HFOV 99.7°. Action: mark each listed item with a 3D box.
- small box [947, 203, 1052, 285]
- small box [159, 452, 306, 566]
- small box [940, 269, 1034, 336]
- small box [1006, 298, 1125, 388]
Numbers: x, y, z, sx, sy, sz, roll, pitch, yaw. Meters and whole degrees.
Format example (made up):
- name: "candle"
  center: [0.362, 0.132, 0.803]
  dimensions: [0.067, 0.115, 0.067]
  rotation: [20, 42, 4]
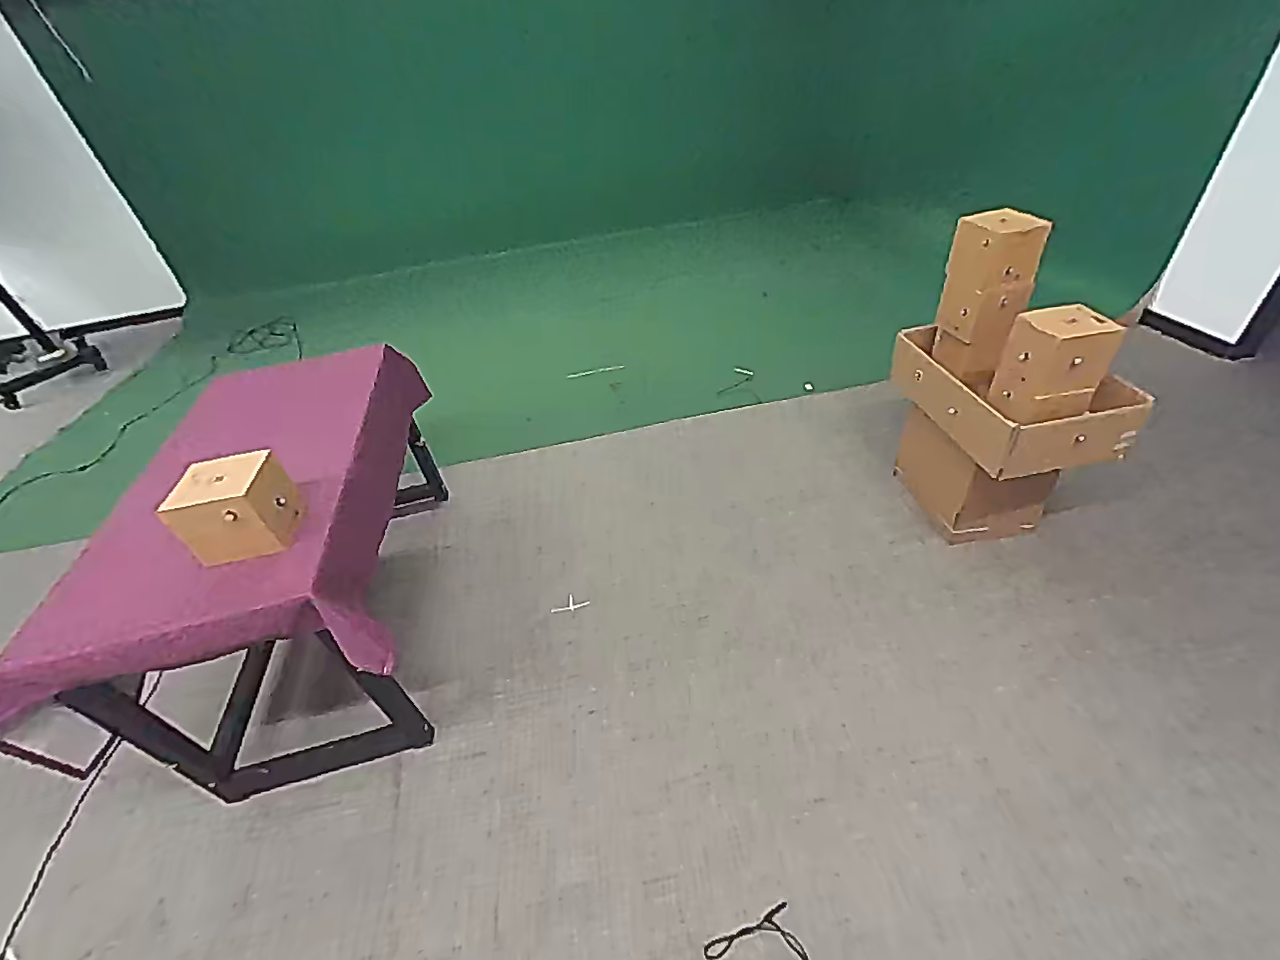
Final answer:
- name: "small box"
  center: [1.053, -0.700, 1.604]
  dimensions: [0.168, 0.176, 0.179]
  rotation: [-15, 42, -6]
- name: "small box"
  center: [-0.883, 0.065, 1.198]
  dimensions: [0.179, 0.176, 0.168]
  rotation: [-13, 40, -3]
- name: "small box"
  center: [1.076, -0.569, 1.699]
  dimensions: [0.179, 0.176, 0.168]
  rotation: [-13, 41, -5]
- name: "small box"
  center: [1.123, -0.364, 1.450]
  dimensions: [0.179, 0.176, 0.168]
  rotation: [-10, 41, 0]
